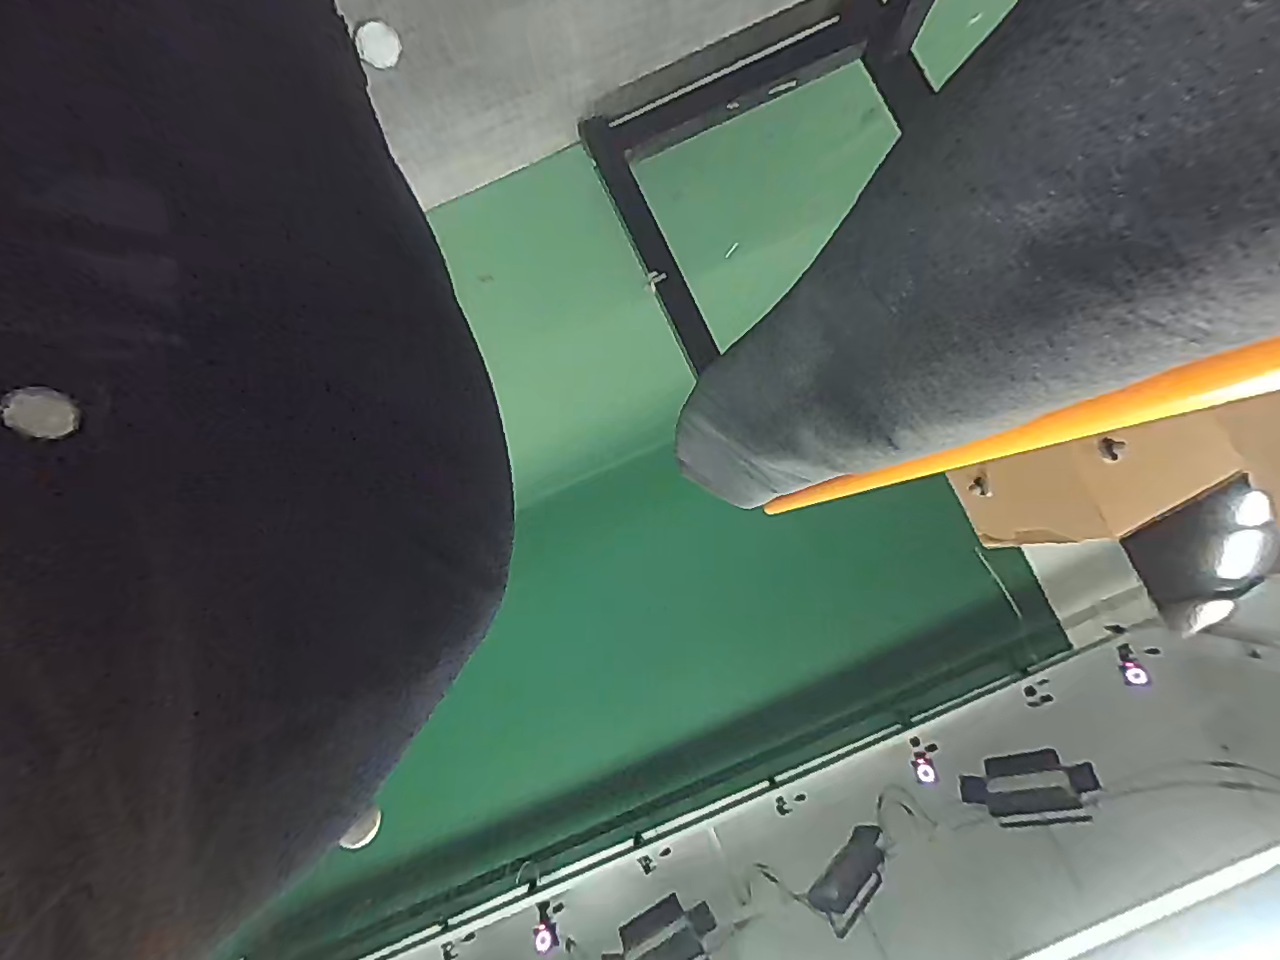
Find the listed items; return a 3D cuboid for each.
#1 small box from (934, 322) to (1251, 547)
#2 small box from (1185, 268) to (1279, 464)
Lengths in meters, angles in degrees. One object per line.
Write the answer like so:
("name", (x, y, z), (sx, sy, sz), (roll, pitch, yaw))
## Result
("small box", (0.472, -0.042, 0.595), (0.179, 0.176, 0.168), (-26, 175, -9))
("small box", (0.461, -0.078, 0.274), (0.179, 0.176, 0.168), (-26, 172, 2))
